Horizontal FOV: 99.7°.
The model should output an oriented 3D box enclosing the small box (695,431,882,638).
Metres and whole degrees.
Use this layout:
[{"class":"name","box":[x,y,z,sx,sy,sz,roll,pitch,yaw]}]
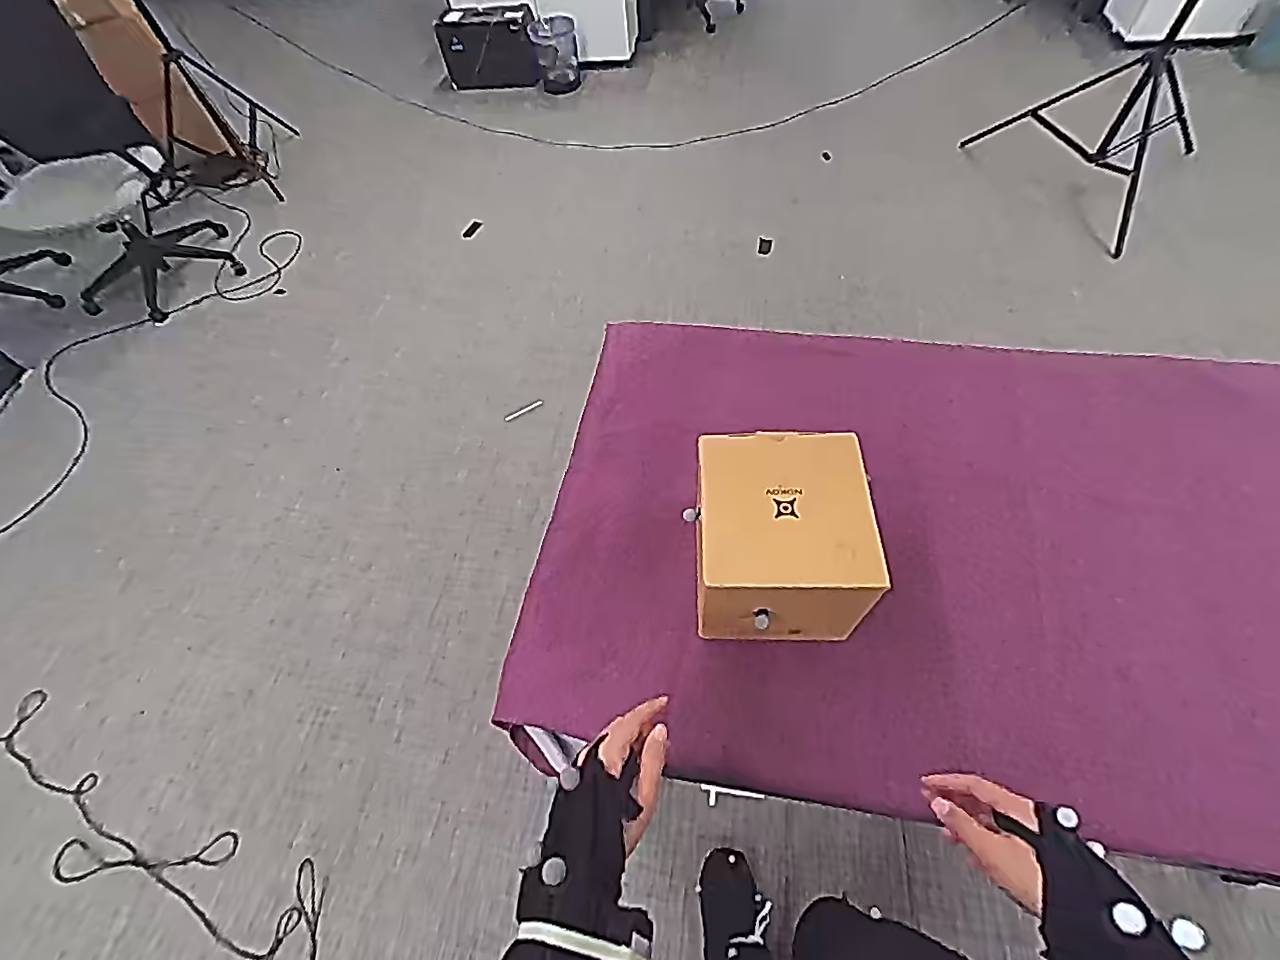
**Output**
[{"class":"small box","box":[0.145,0.067,0.596,0.168,0.176,0.179,-1,56,5]}]
